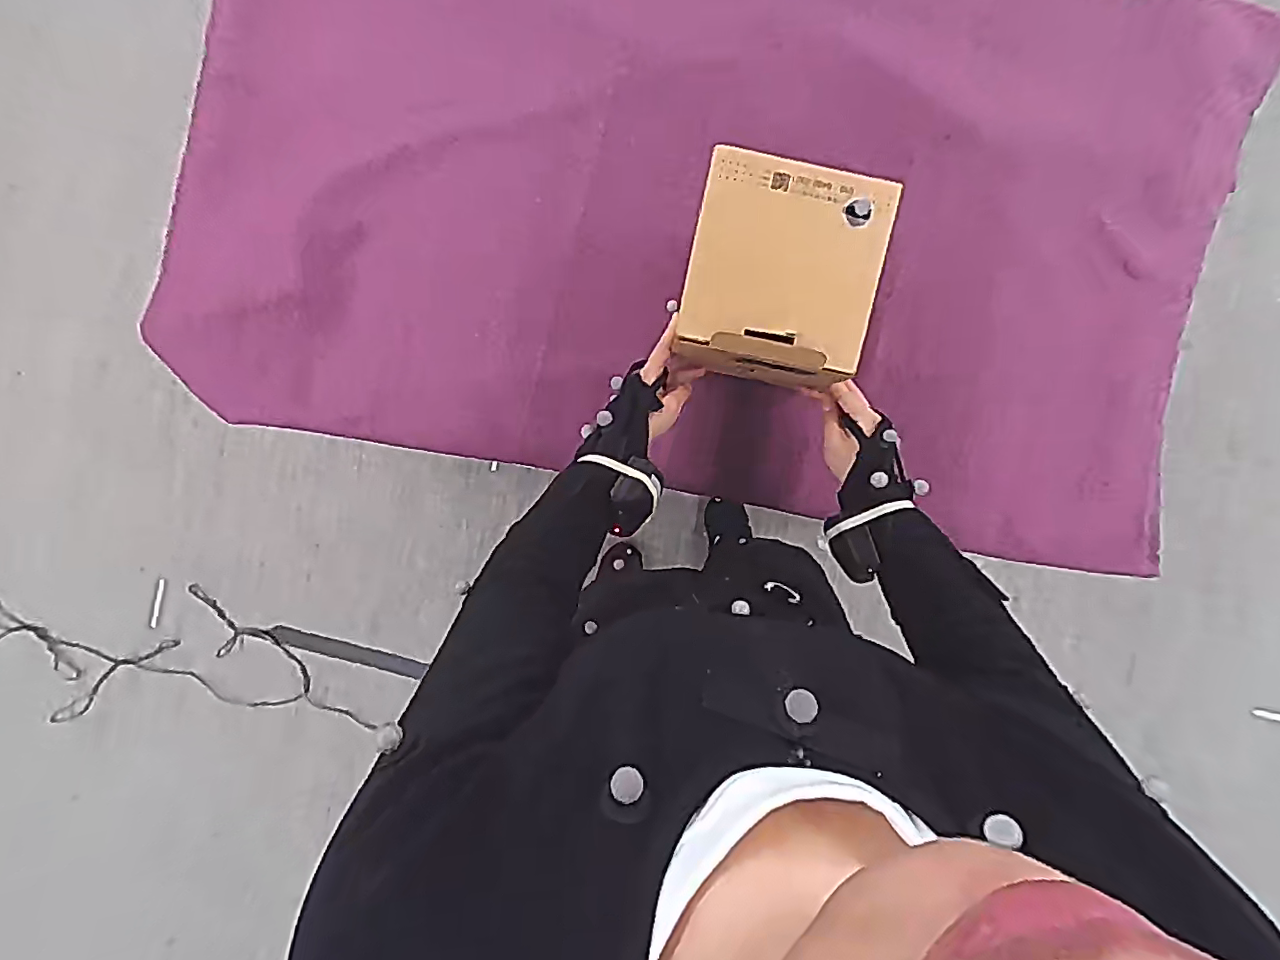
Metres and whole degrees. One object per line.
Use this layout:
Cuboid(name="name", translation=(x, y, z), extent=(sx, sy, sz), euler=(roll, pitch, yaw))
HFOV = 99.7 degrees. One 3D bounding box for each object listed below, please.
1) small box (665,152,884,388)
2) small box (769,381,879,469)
Cuboid(name="small box", translation=(0.125, -0.199, 0.551), extent=(0.168, 0.179, 0.176), euler=(13, 96, 0))
Cuboid(name="small box", translation=(0.384, -0.117, 1.163), extent=(0.179, 0.176, 0.168), euler=(10, 92, 5))
